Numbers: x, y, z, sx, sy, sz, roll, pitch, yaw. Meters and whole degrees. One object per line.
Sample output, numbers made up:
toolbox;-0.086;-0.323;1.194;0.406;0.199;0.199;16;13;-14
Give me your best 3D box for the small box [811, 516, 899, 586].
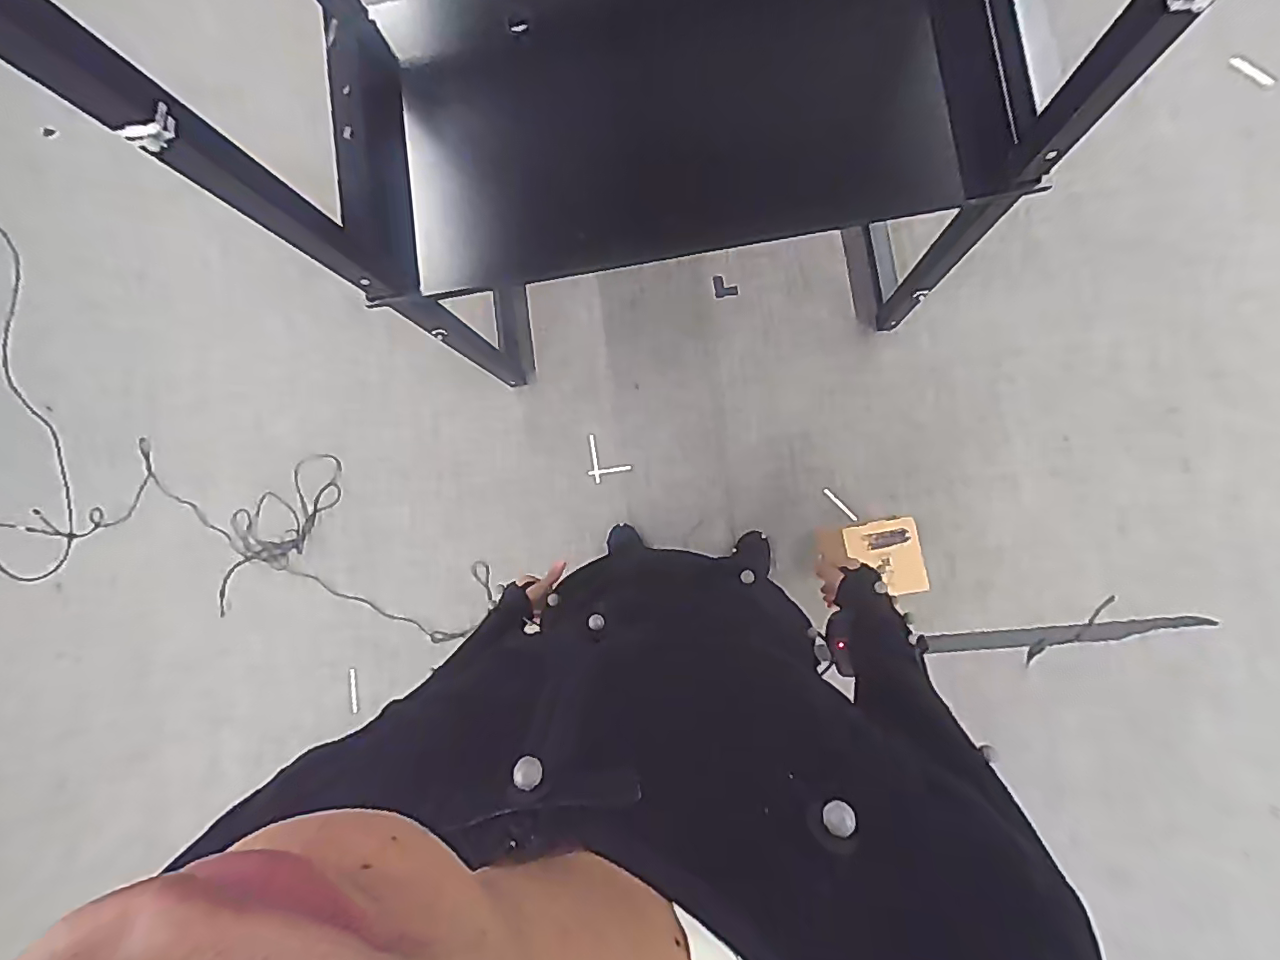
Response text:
small box;0.589;0.191;1.497;0.179;0.176;0.168;-8;85;7
